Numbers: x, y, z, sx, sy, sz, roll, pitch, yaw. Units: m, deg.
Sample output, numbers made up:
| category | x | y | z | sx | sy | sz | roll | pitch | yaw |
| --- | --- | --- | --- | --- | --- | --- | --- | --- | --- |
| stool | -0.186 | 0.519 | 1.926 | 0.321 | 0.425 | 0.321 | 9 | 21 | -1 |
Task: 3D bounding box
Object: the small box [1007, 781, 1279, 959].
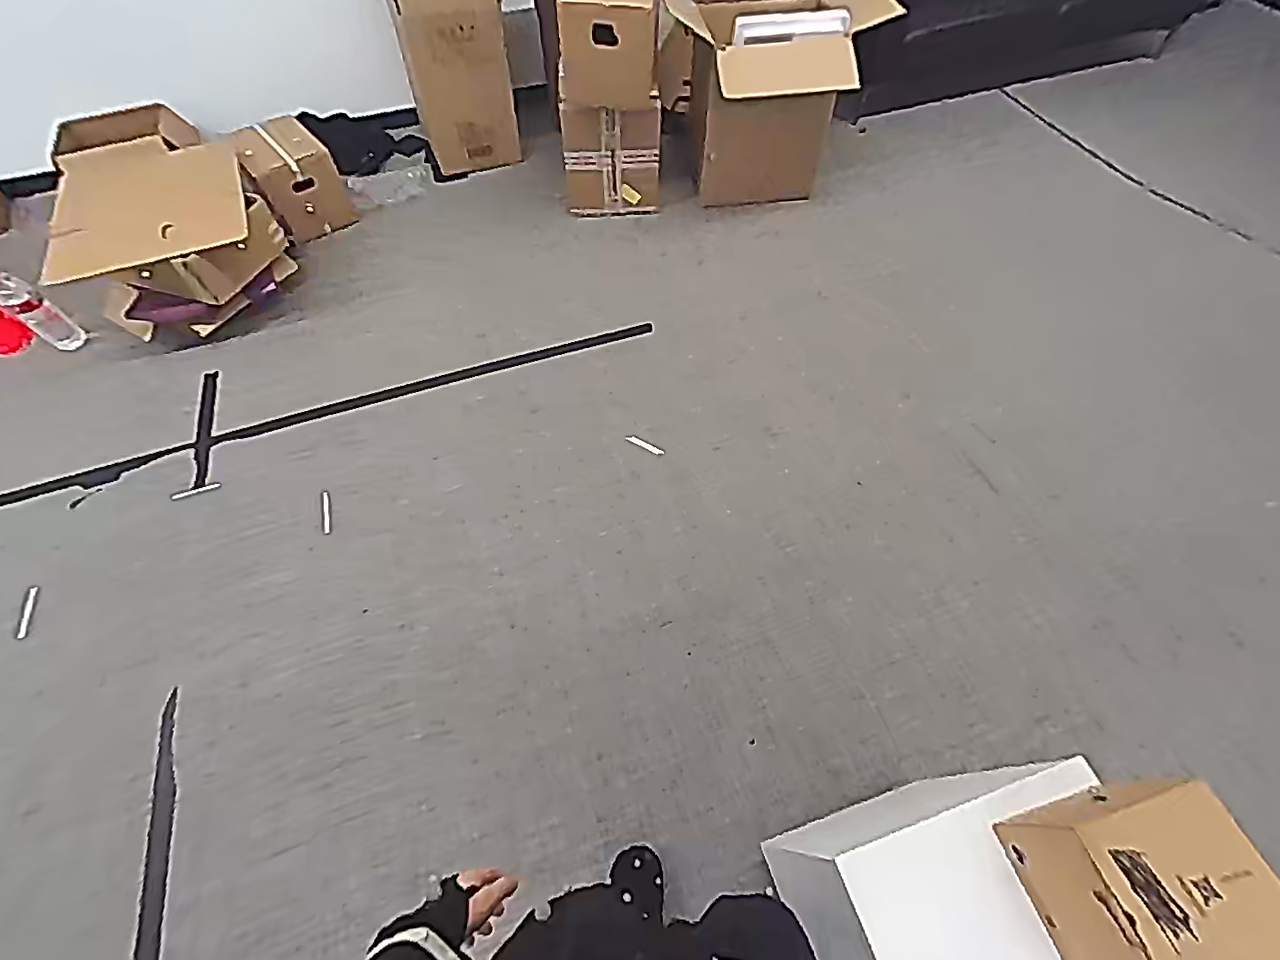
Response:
| category | x | y | z | sx | sy | sz | roll | pitch | yaw |
| --- | --- | --- | --- | --- | --- | --- | --- | --- | --- |
| small box | 0.572 | 0.468 | 0.625 | 0.179 | 0.176 | 0.168 | -14 | 59 | -8 |
